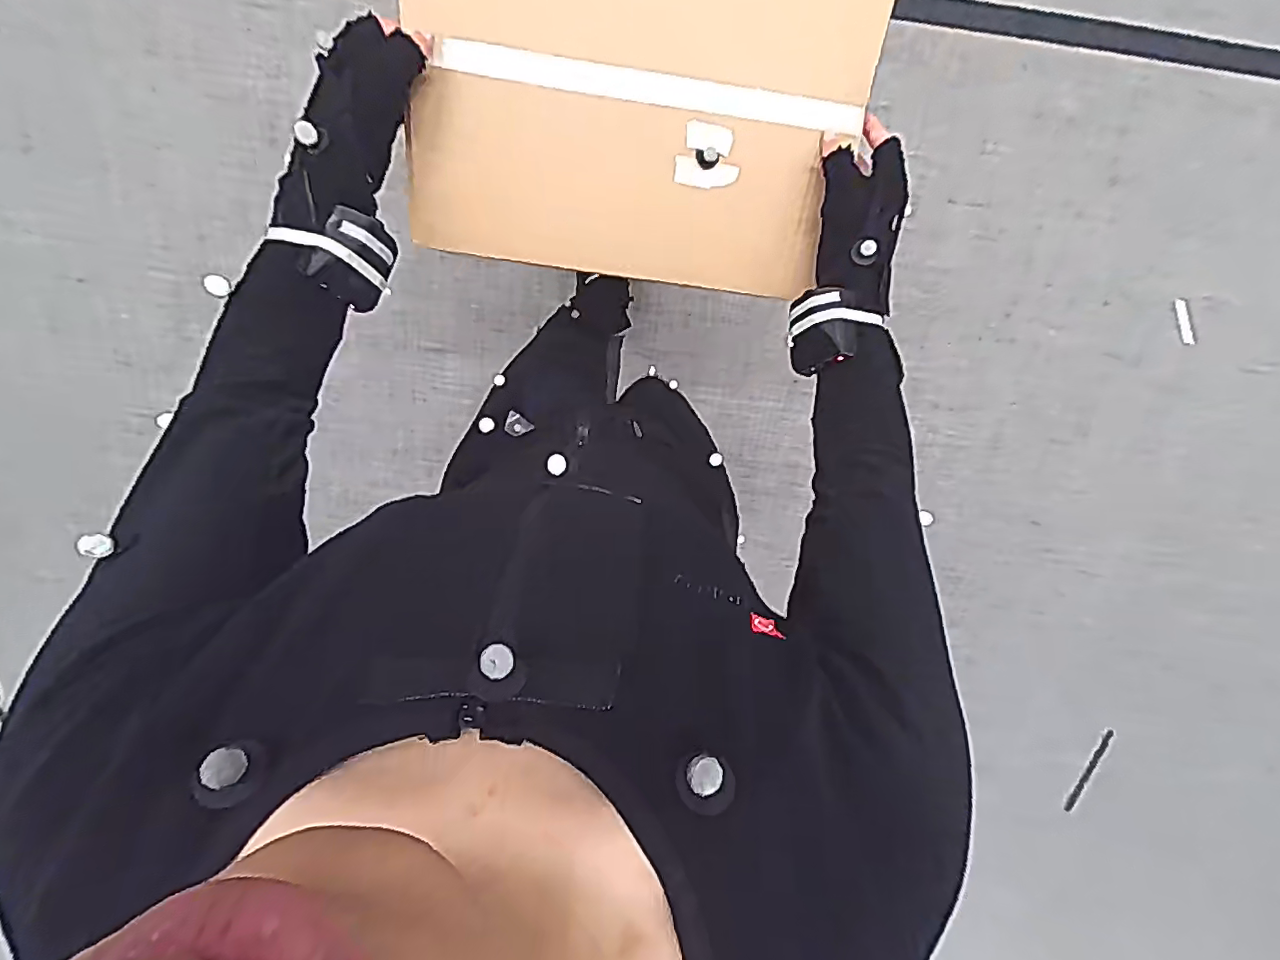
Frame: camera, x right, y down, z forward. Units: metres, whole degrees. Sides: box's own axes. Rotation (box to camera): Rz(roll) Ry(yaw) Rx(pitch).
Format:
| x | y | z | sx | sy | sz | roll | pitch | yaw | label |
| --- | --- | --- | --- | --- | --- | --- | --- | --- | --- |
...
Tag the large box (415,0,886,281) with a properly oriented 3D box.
| x | y | z | sx | sy | sz | roll | pitch | yaw | label |
| --- | --- | --- | --- | --- | --- | --- | --- | --- | --- |
| -0.003 | -0.420 | 0.612 | 0.408 | 0.320 | 0.320 | 6 | 115 | -6 | large box |
